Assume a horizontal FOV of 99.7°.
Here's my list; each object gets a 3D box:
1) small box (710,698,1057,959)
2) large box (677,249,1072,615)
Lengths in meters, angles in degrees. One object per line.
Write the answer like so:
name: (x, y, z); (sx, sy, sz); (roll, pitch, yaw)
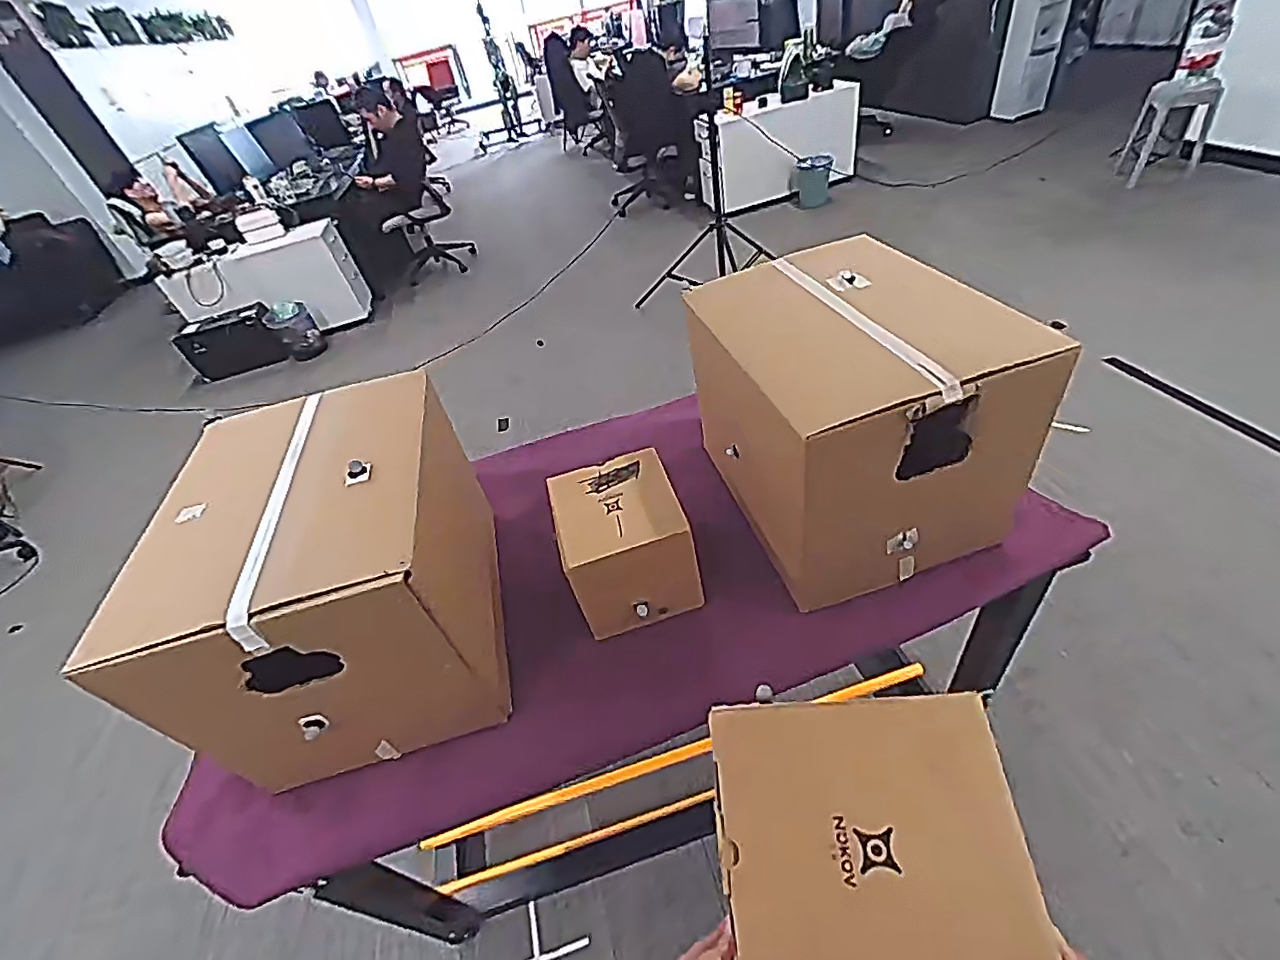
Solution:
small box: (0.152, 0.254, 0.395); (0.179, 0.176, 0.168); (-8, 64, 10)
large box: (0.283, -0.087, 0.787); (0.320, 0.320, 0.408); (-18, 40, -4)
